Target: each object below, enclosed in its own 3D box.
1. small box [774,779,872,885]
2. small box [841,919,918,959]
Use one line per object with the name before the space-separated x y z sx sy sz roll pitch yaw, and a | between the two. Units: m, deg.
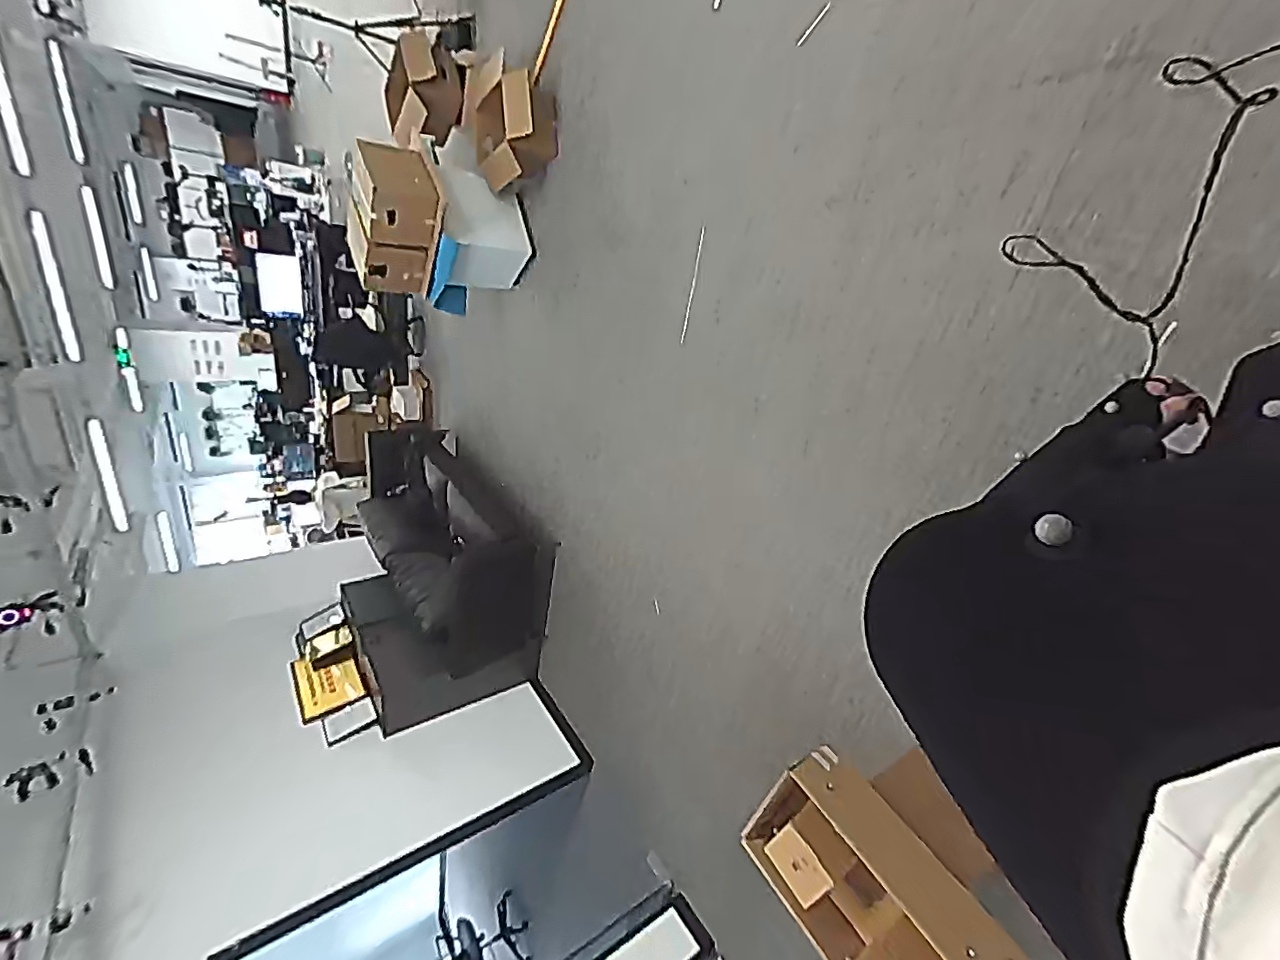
small box | 0.520 0.994 1.534 0.168 0.176 0.179 49 134 36
small box | 0.553 1.184 1.255 0.168 0.176 0.179 42 130 40
